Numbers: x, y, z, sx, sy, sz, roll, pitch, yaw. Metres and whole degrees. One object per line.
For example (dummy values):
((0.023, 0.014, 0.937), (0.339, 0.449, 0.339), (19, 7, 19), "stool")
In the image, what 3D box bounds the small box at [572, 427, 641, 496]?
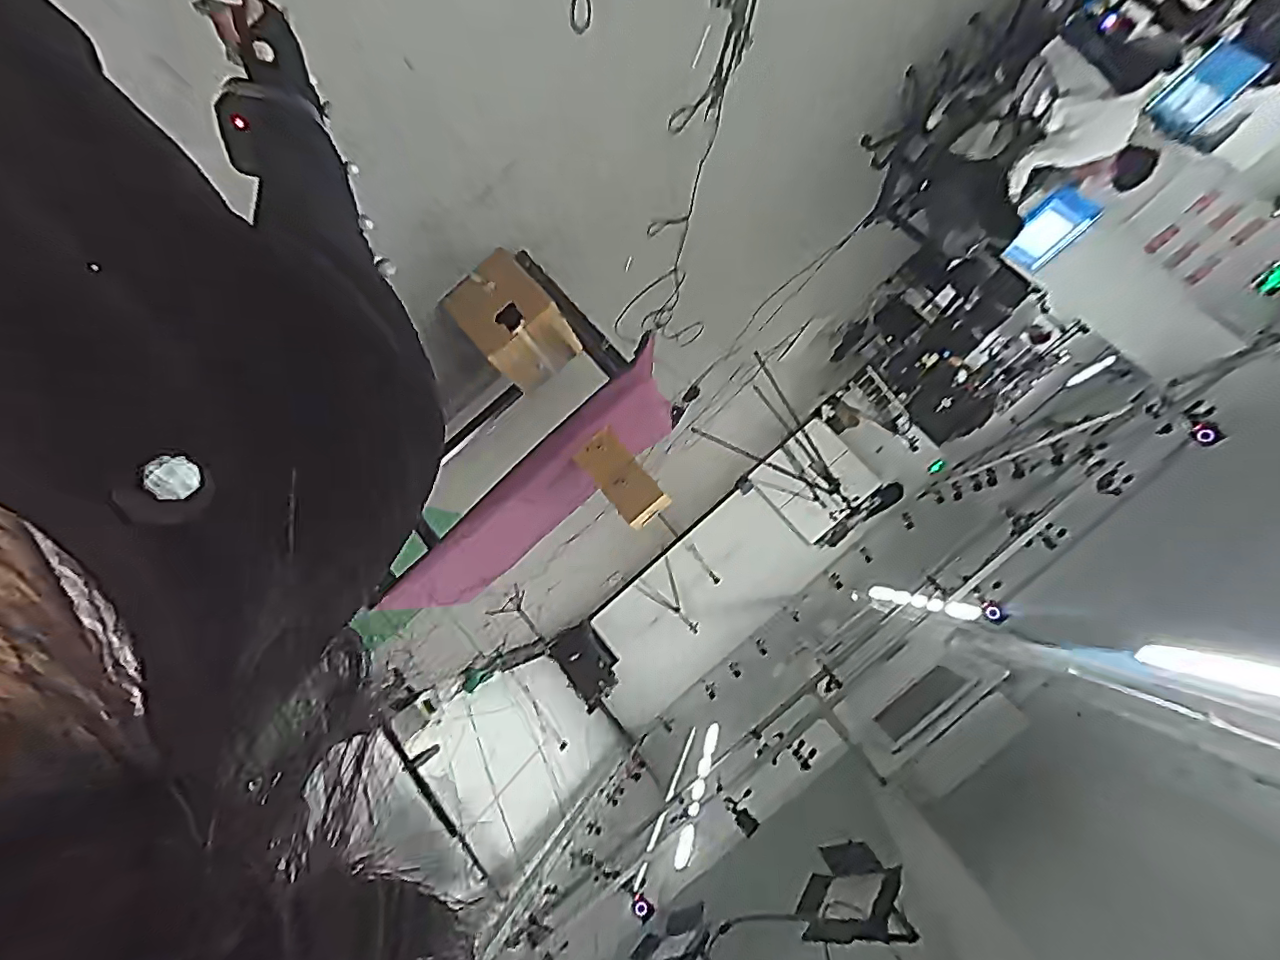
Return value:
((-0.120, -0.069, 1.964), (0.168, 0.176, 0.179), (-41, 165, 0), "small box")
